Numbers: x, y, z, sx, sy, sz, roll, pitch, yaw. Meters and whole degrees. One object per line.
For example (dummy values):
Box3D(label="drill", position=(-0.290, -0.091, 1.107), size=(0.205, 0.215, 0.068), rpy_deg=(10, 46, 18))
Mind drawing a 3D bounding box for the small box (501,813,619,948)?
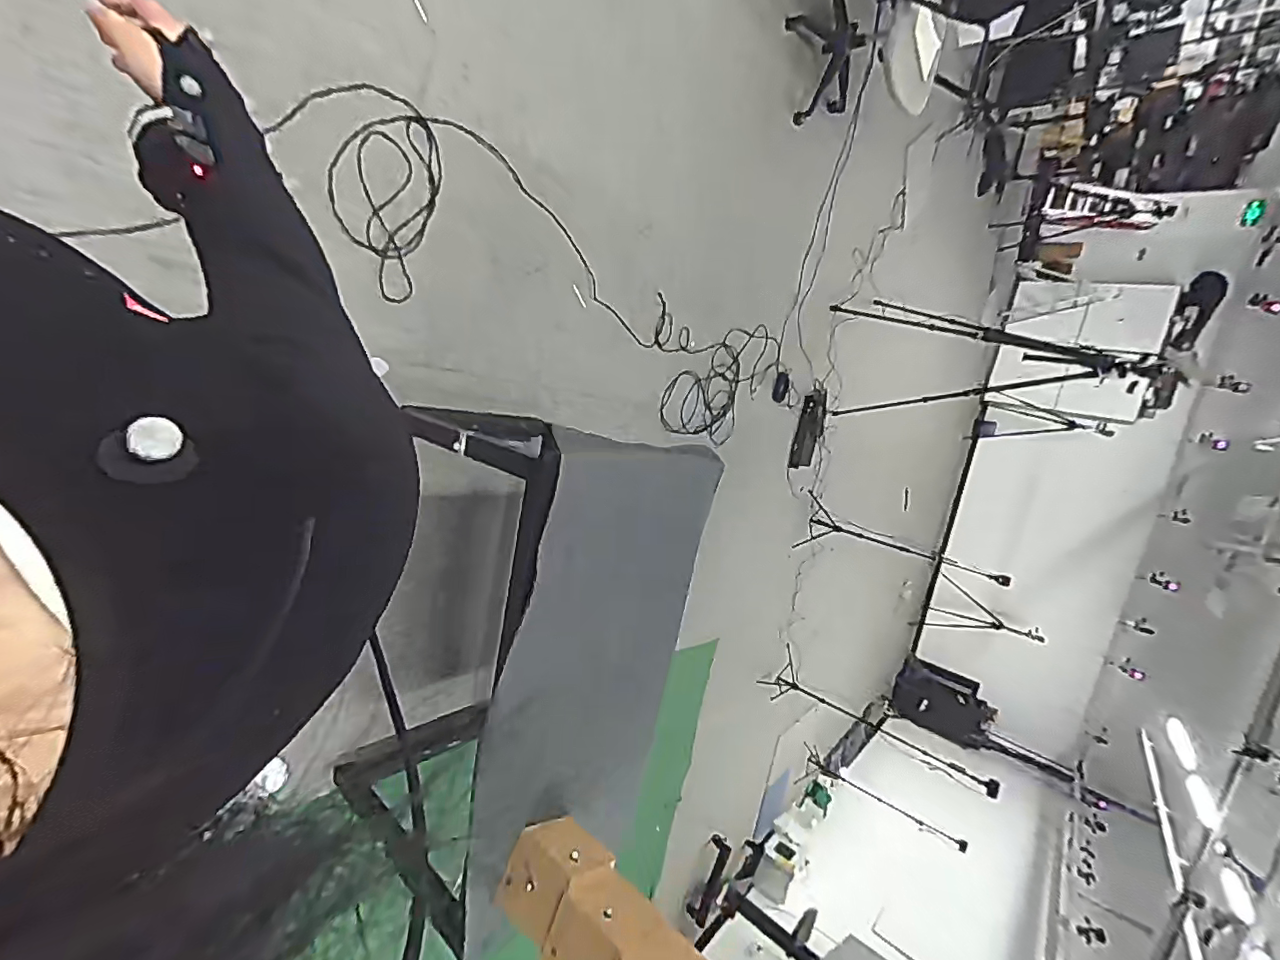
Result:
Box3D(label="small box", position=(-0.186, 0.905, 1.241), size=(0.179, 0.176, 0.168), rpy_deg=(33, 79, -54))

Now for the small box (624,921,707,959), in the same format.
Box3D(label="small box", position=(0.047, 1.012, 1.037), size=(0.179, 0.176, 0.168), rpy_deg=(14, 94, -53))

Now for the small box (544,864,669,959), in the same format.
Box3D(label="small box", position=(-0.073, 0.964, 1.139), size=(0.179, 0.176, 0.168), rpy_deg=(24, 86, -54))
